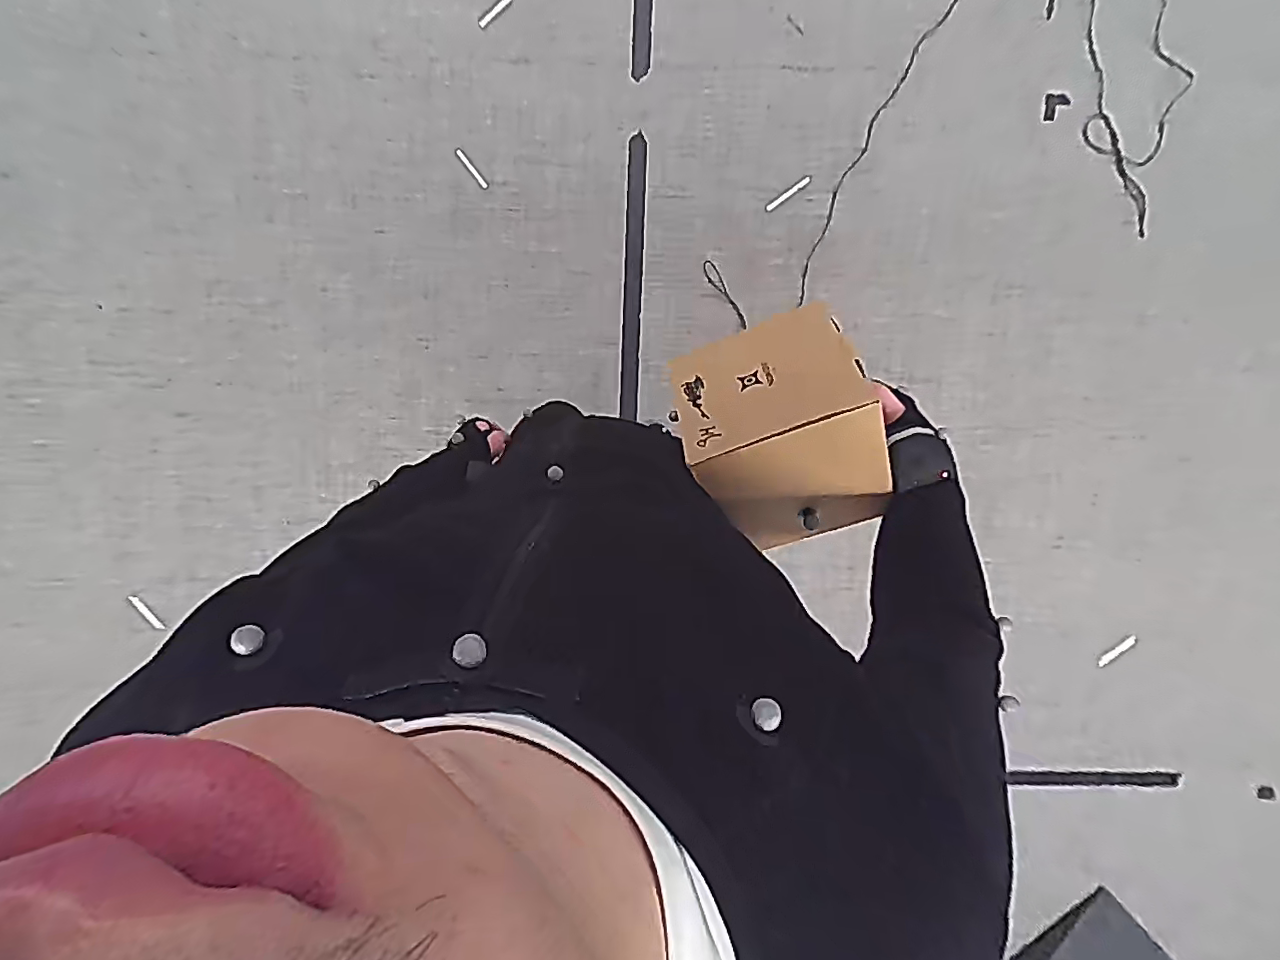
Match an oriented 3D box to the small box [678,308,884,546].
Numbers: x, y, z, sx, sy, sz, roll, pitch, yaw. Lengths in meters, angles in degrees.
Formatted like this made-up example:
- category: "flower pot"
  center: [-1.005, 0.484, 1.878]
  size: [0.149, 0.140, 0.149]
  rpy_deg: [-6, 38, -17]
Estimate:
- category: "small box"
  center: [0.158, -0.052, 0.603]
  size: [0.179, 0.168, 0.176]
  rpy_deg: [-19, 134, 14]
